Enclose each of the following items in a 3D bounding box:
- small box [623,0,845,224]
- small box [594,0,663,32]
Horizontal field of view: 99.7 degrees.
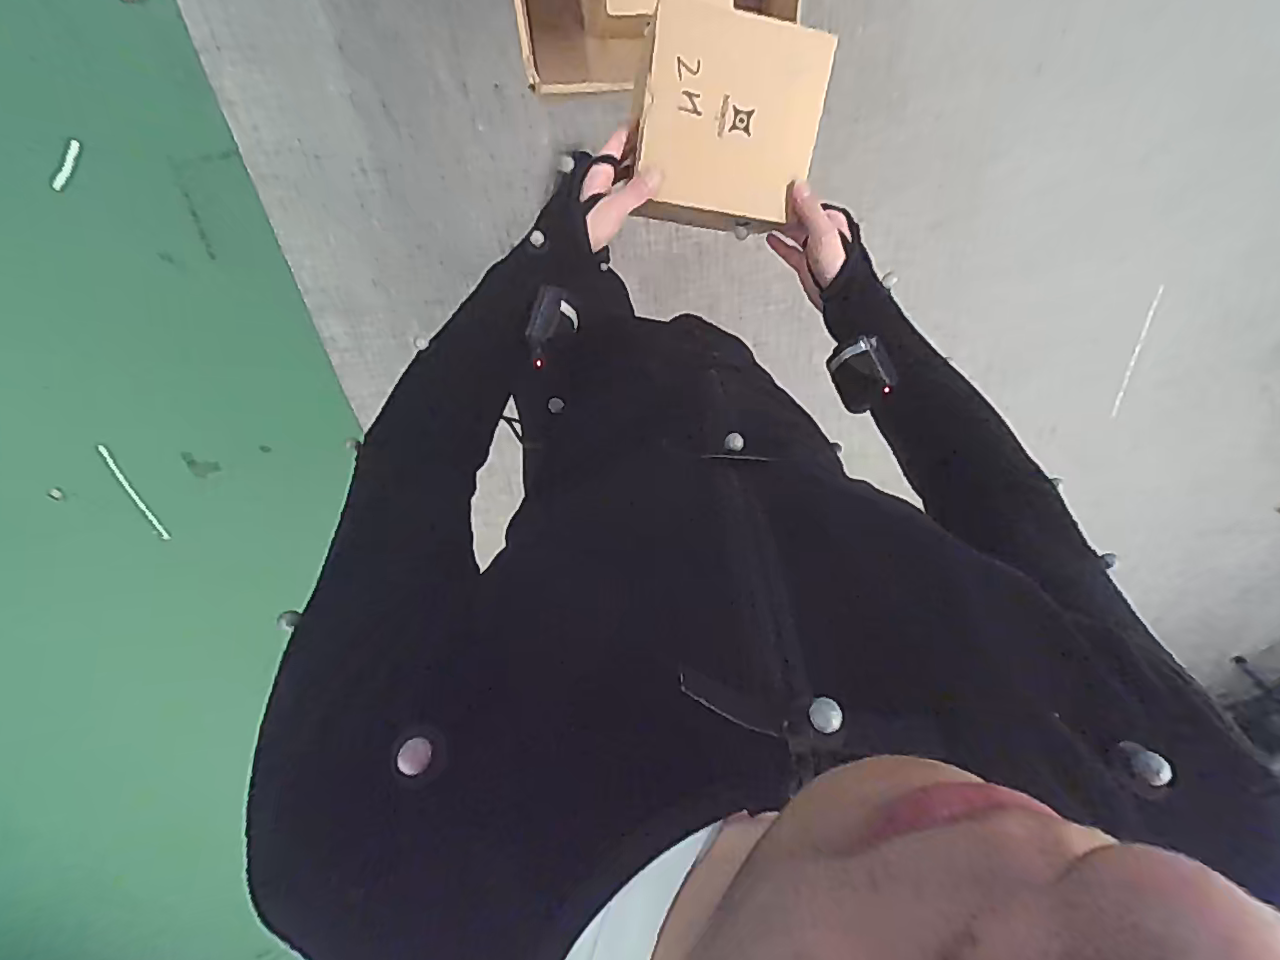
[{"bbox_3d":[0.084,-0.382,0.586,0.179,0.176,0.168,6,110,-9],"label":"small box"},{"bbox_3d":[0.025,-0.725,0.730,0.179,0.176,0.168,-7,122,-7],"label":"small box"}]
